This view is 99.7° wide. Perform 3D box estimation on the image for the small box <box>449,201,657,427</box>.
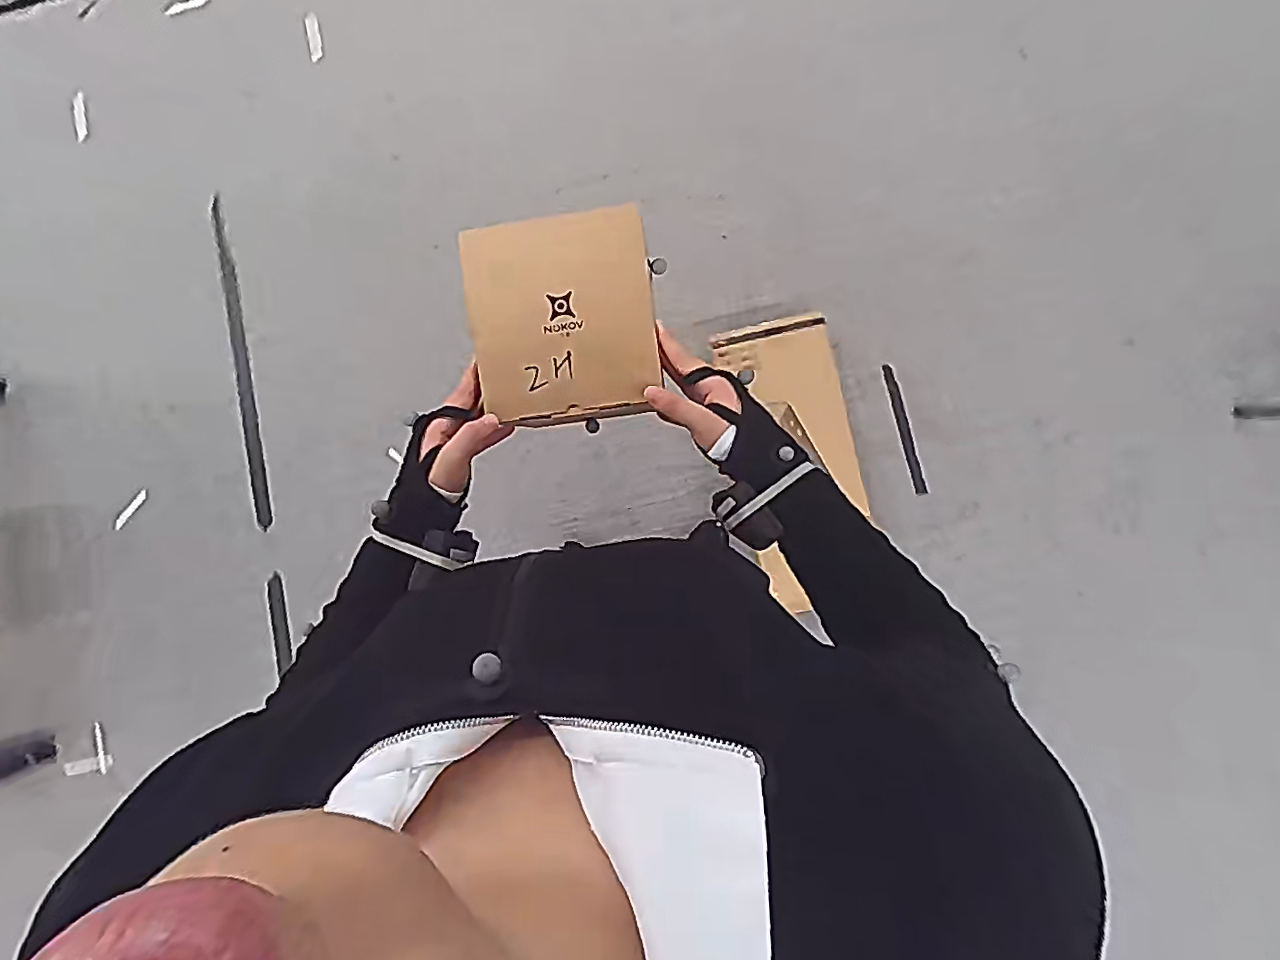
[{"bbox_3d":[-0.075,-0.154,0.561,0.168,0.176,0.179,-8,94,5],"label":"small box"}]
